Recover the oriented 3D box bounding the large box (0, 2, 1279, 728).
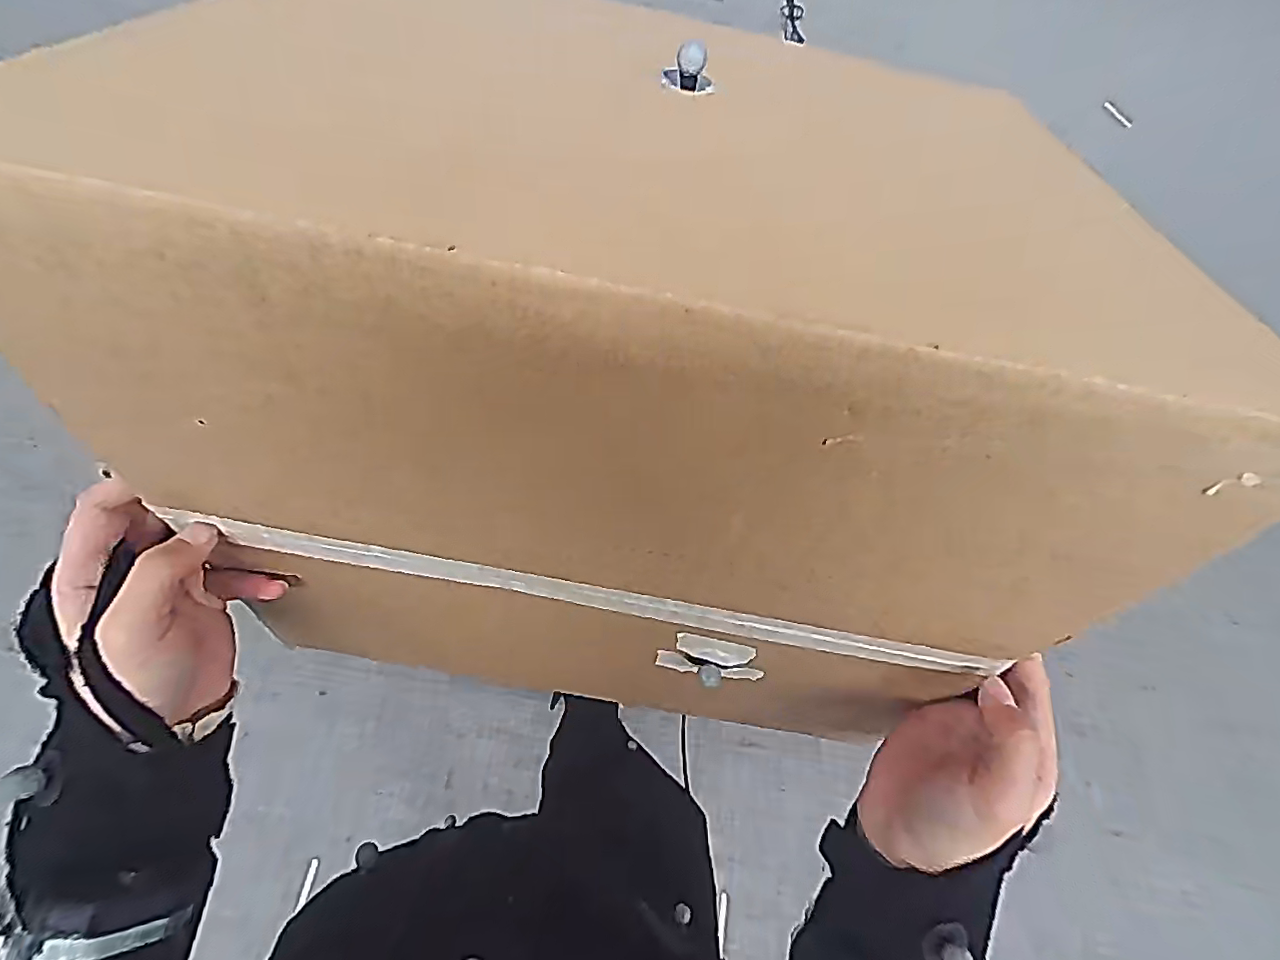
[{"bbox_3d":[-0.004,-0.066,0.361,0.408,0.320,0.320,10,51,-2],"label":"large box"}]
